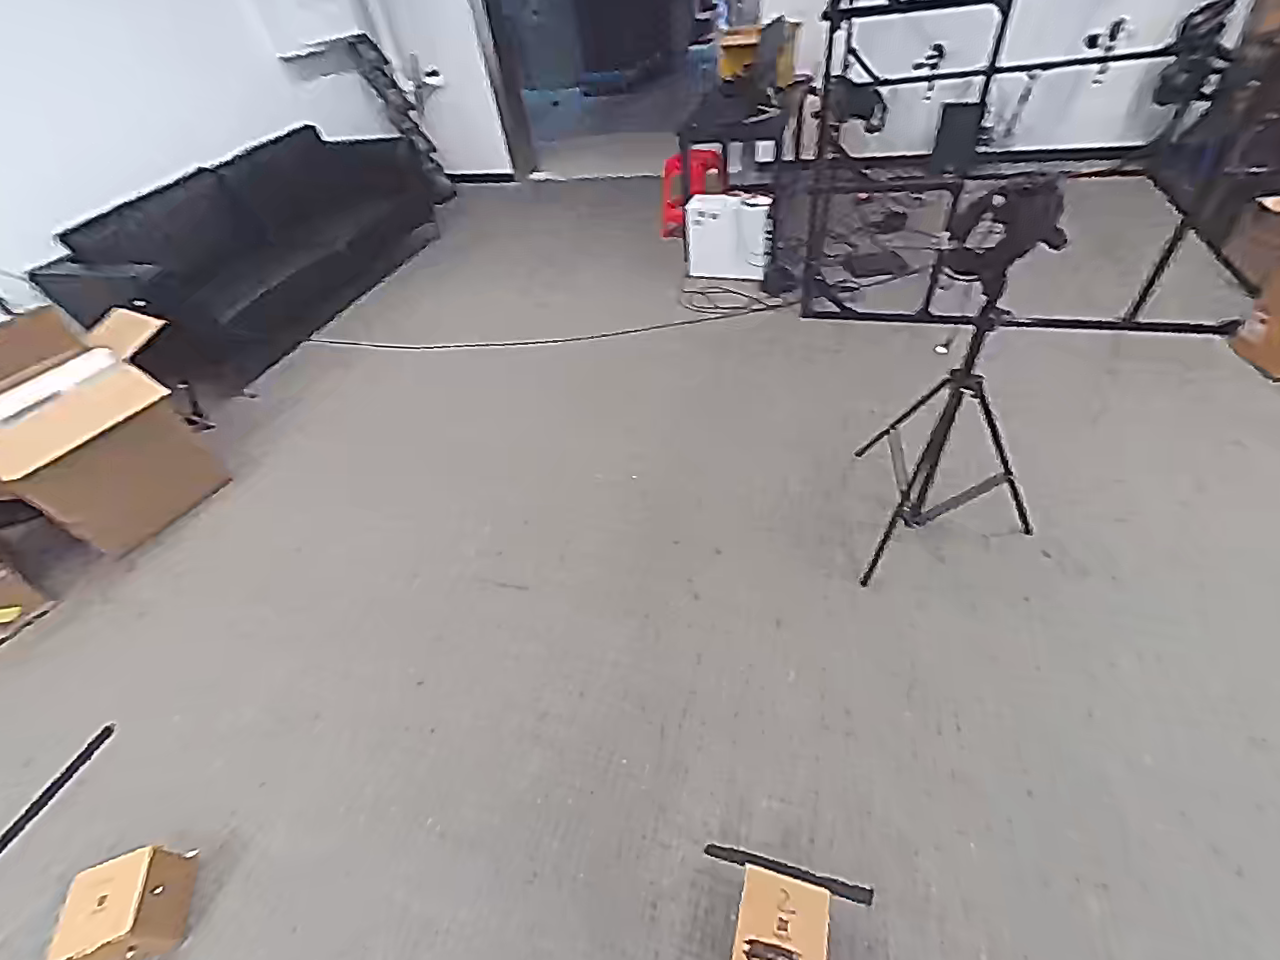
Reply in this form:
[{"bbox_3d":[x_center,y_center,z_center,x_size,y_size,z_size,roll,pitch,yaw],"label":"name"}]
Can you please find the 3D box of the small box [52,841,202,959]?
[{"bbox_3d":[-1.165,0.979,1.247,0.168,0.176,0.179,-18,44,-10],"label":"small box"}]
